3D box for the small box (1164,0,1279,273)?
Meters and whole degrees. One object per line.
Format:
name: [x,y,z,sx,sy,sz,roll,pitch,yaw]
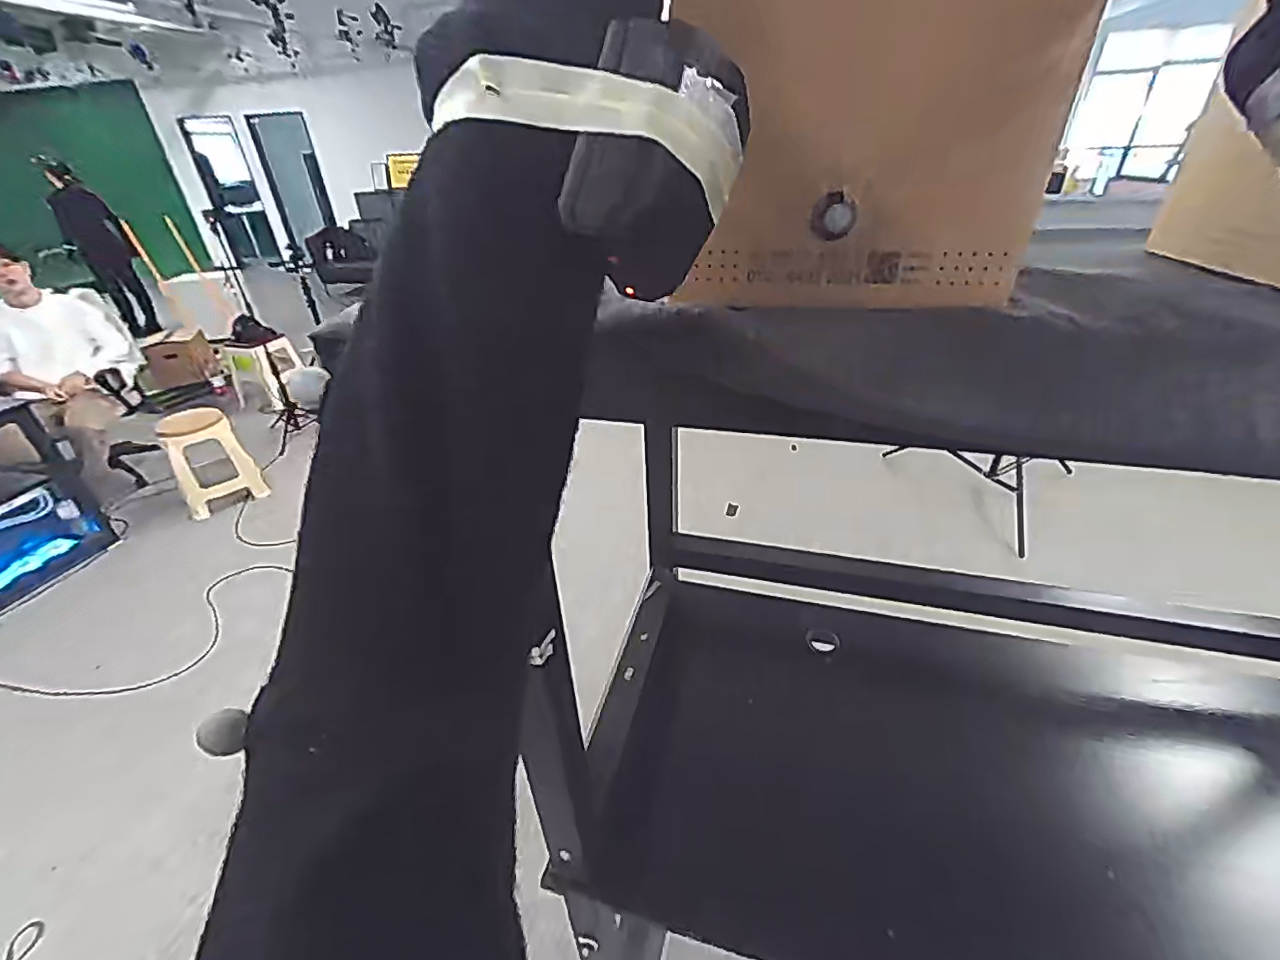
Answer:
small box: [0.404,-0.185,0.246,0.168,0.176,0.179,7,31,16]
